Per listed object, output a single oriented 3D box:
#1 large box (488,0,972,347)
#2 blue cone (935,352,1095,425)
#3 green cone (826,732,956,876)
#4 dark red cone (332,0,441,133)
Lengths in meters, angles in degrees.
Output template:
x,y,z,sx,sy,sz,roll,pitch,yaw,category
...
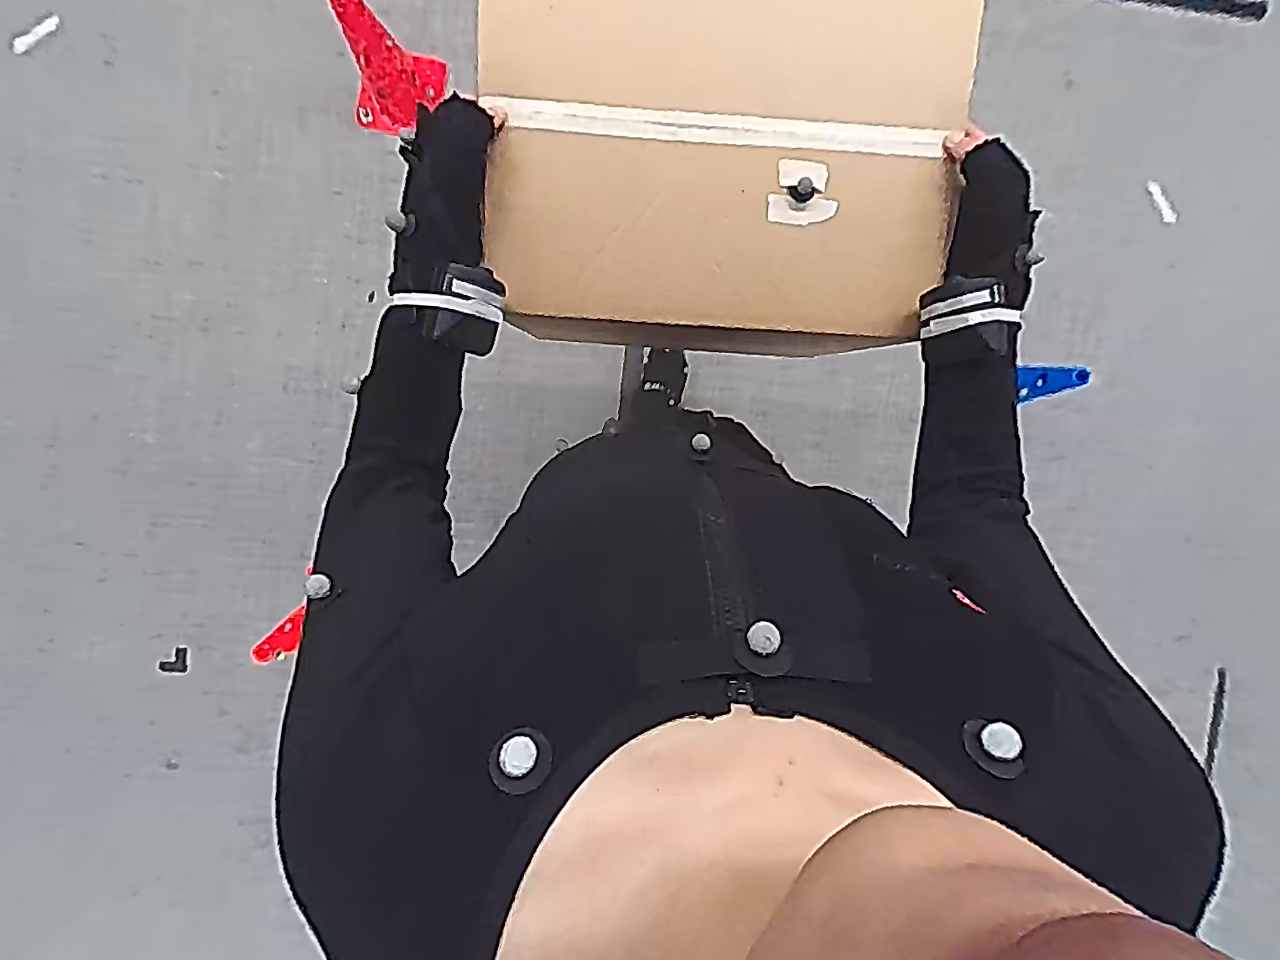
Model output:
x,y,z,sx,sy,sz,roll,pitch,yaw,category
0.064,-0.324,0.600,0.408,0.320,0.320,3,100,-4,large box
0.924,-0.239,1.329,0.192,0.380,0.193,8,94,-5,blue cone
0.670,0.862,1.386,0.202,0.368,0.200,-33,96,-2,green cone
-0.578,-0.946,1.146,0.201,0.394,0.202,11,94,-5,dark red cone
